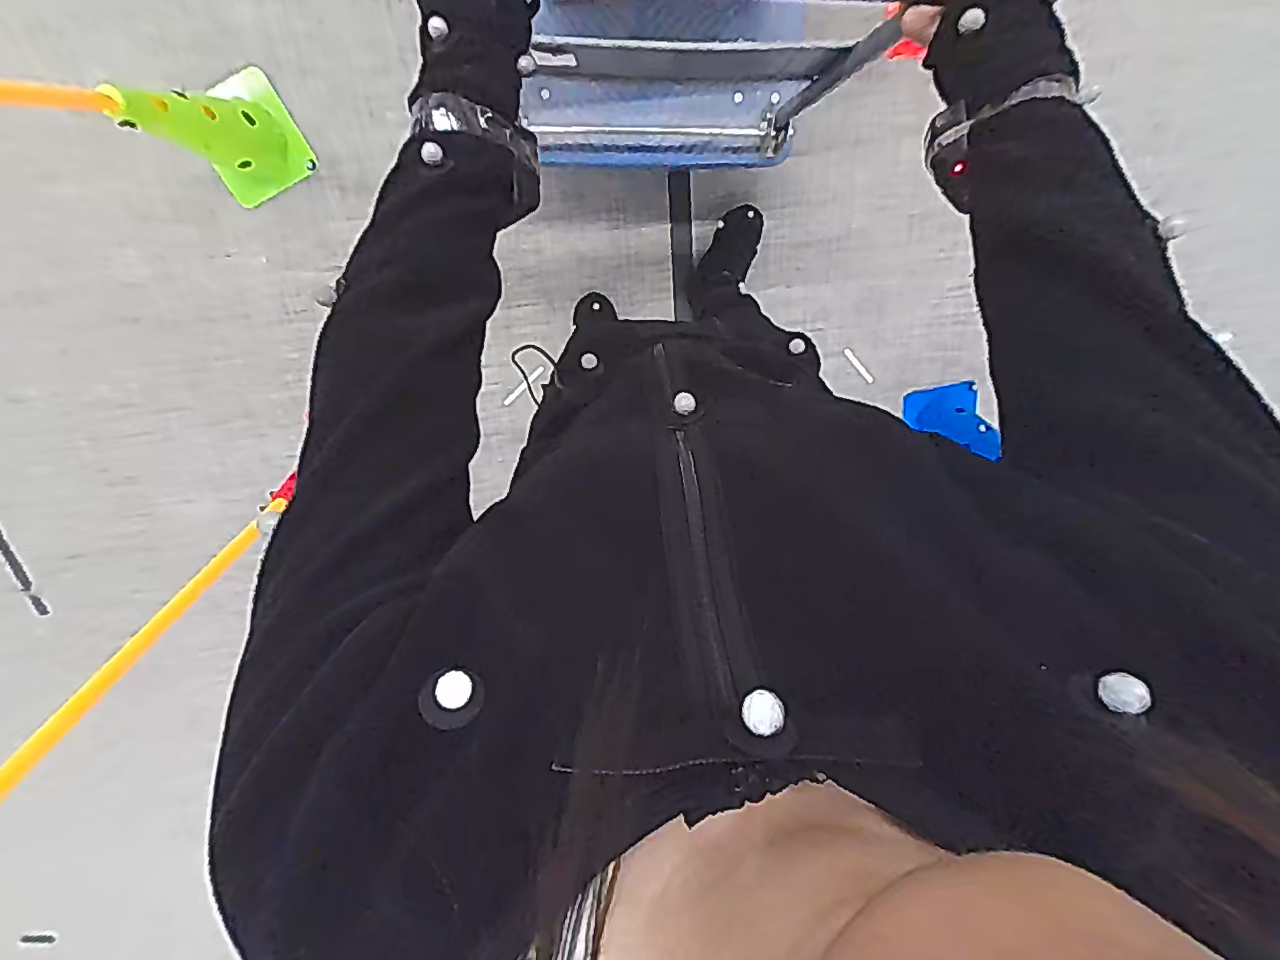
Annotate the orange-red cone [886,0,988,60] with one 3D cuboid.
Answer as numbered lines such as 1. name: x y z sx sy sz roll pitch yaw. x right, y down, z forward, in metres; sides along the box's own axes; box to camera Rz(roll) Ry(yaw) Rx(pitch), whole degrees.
1. orange-red cone: 0.623 -0.906 0.938 0.199 0.360 0.198 -1 114 -5

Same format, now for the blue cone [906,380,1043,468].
1. blue cone: 0.828 -0.104 1.319 0.193 0.380 0.192 -10 113 0
